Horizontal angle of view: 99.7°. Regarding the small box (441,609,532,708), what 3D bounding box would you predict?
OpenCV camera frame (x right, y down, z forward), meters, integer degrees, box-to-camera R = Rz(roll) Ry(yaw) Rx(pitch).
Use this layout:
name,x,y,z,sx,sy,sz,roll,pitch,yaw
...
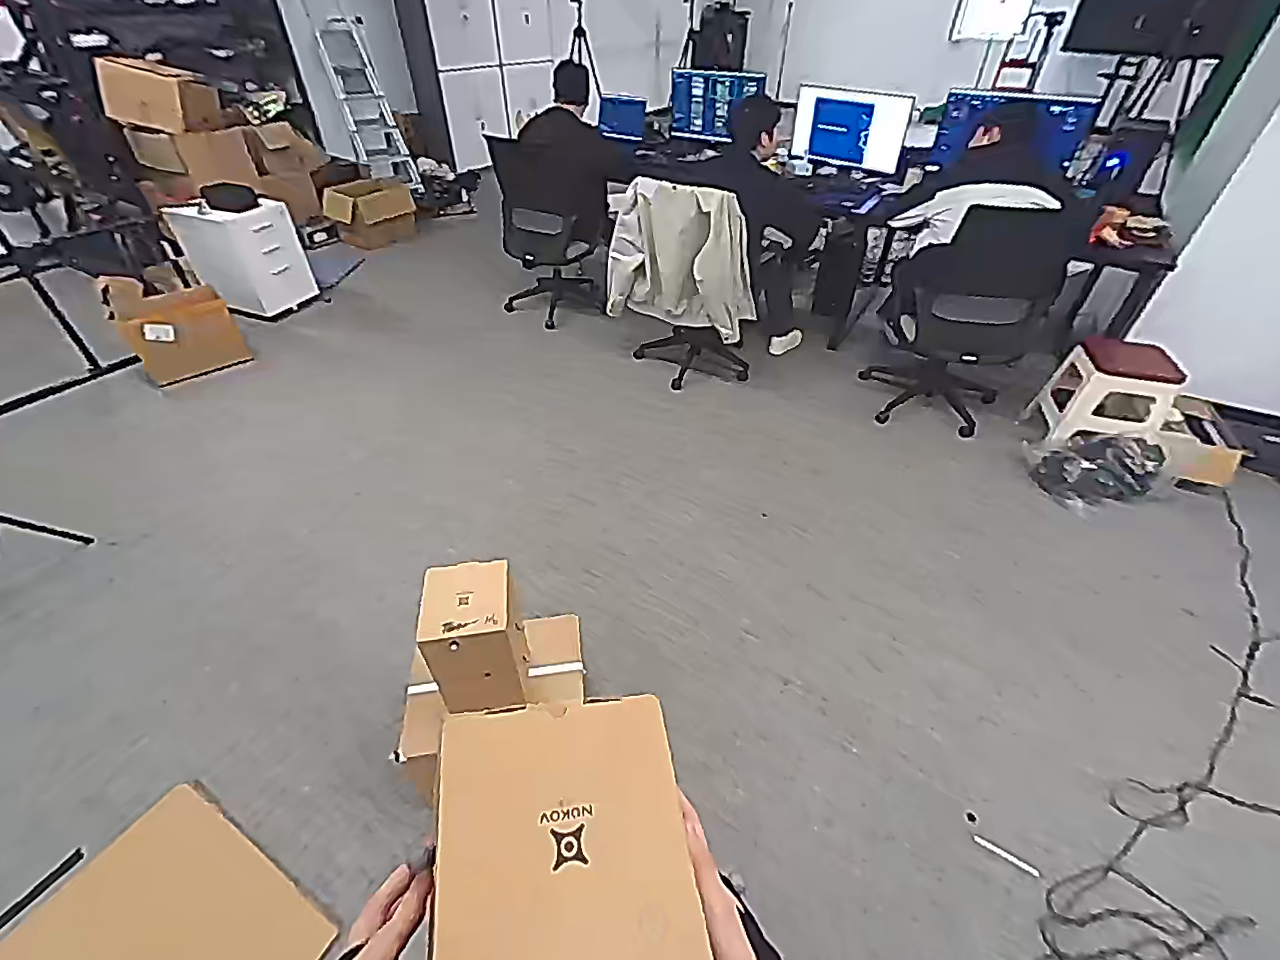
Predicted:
name,x,y,z,sx,sy,sz,roll,pitch,yaw
small box,-0.336,0.418,1.214,0.168,0.176,0.179,-7,42,-8

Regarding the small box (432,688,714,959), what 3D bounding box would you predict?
name,x,y,z,sx,sy,sz,roll,pitch,yaw
small box,-0.067,0.282,0.411,0.168,0.176,0.179,2,47,-20

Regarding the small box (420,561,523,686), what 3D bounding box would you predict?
name,x,y,z,sx,sy,sz,roll,pitch,yaw
small box,-0.336,0.292,1.108,0.168,0.176,0.179,-7,41,-7
